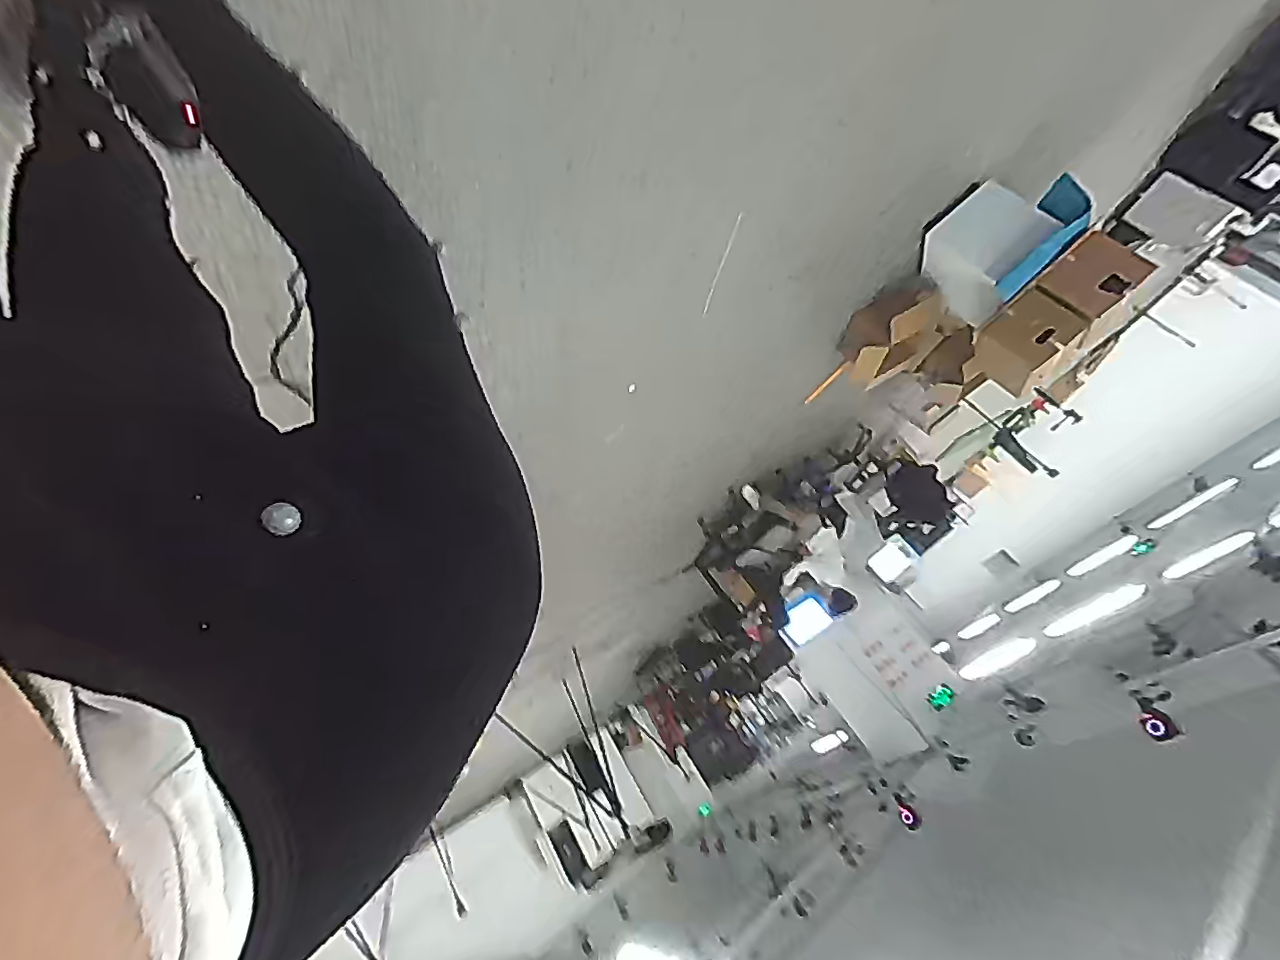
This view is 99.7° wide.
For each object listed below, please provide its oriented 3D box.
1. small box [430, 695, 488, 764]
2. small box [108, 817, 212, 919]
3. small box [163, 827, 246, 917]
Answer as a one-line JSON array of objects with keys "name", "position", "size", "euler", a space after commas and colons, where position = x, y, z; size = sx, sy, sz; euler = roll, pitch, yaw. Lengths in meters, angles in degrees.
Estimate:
[{"name": "small box", "position": [-0.712, 0.976, 2.126], "size": [0.168, 0.176, 0.179], "euler": [-22, 152, -27]}, {"name": "small box", "position": [-1.333, 1.075, 1.506], "size": [0.168, 0.176, 0.179], "euler": [-21, 152, -32]}, {"name": "small box", "position": [-1.397, 1.243, 1.721], "size": [0.168, 0.176, 0.179], "euler": [-21, 150, -29]}]
